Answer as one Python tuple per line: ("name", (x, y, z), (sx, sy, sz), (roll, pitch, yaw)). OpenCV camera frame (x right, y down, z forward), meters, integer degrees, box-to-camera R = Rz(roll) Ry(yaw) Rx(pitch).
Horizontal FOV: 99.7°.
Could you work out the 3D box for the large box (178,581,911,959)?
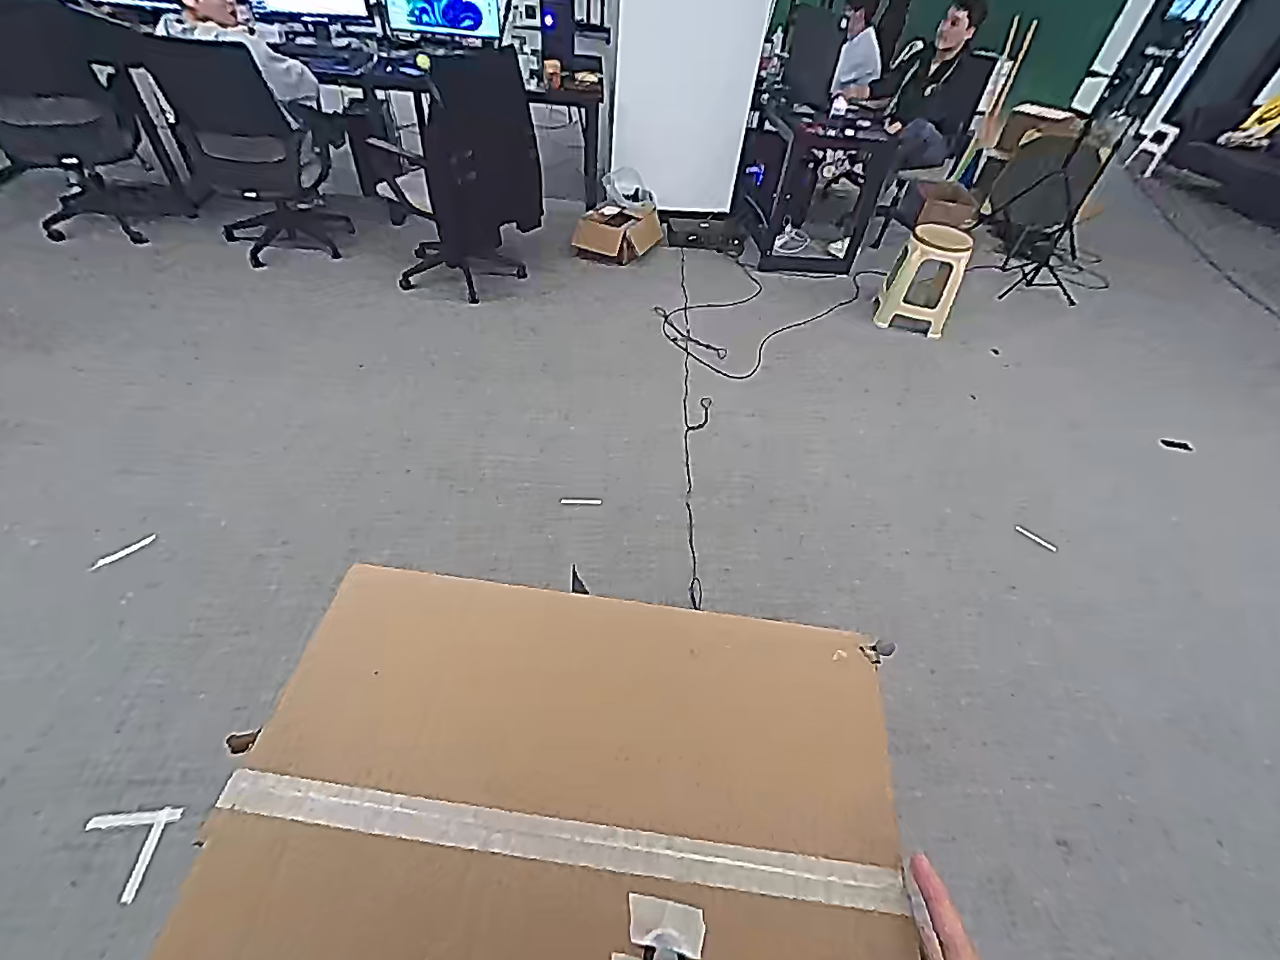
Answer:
("large box", (-0.049, 0.311, 0.445), (0.408, 0.320, 0.320), (7, 53, 2))
